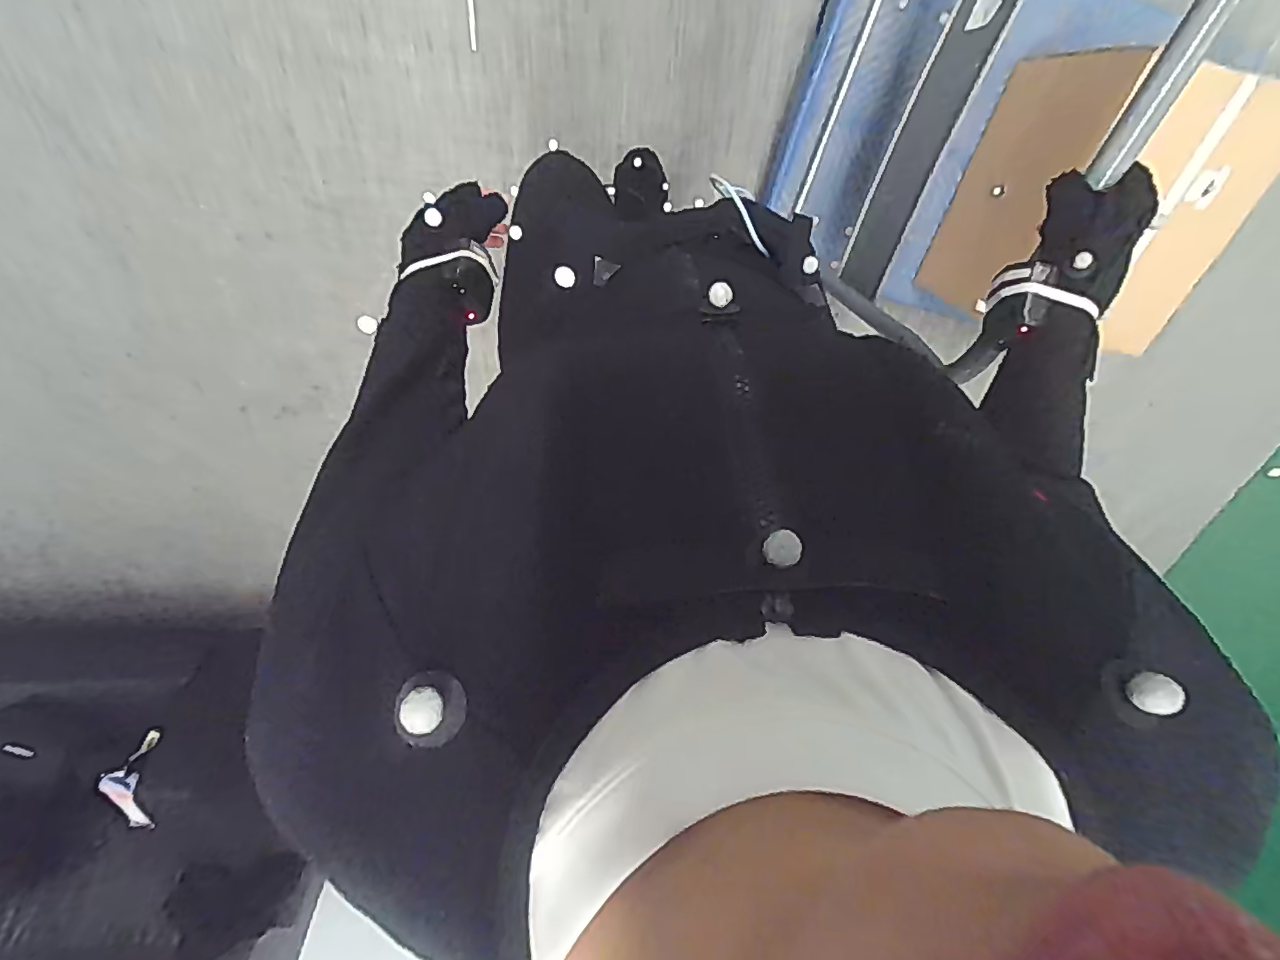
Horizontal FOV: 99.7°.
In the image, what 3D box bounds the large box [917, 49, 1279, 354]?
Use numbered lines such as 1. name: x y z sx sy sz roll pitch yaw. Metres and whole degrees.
1. large box: 0.799 -0.493 0.992 0.320 0.320 0.408 7 123 -10
